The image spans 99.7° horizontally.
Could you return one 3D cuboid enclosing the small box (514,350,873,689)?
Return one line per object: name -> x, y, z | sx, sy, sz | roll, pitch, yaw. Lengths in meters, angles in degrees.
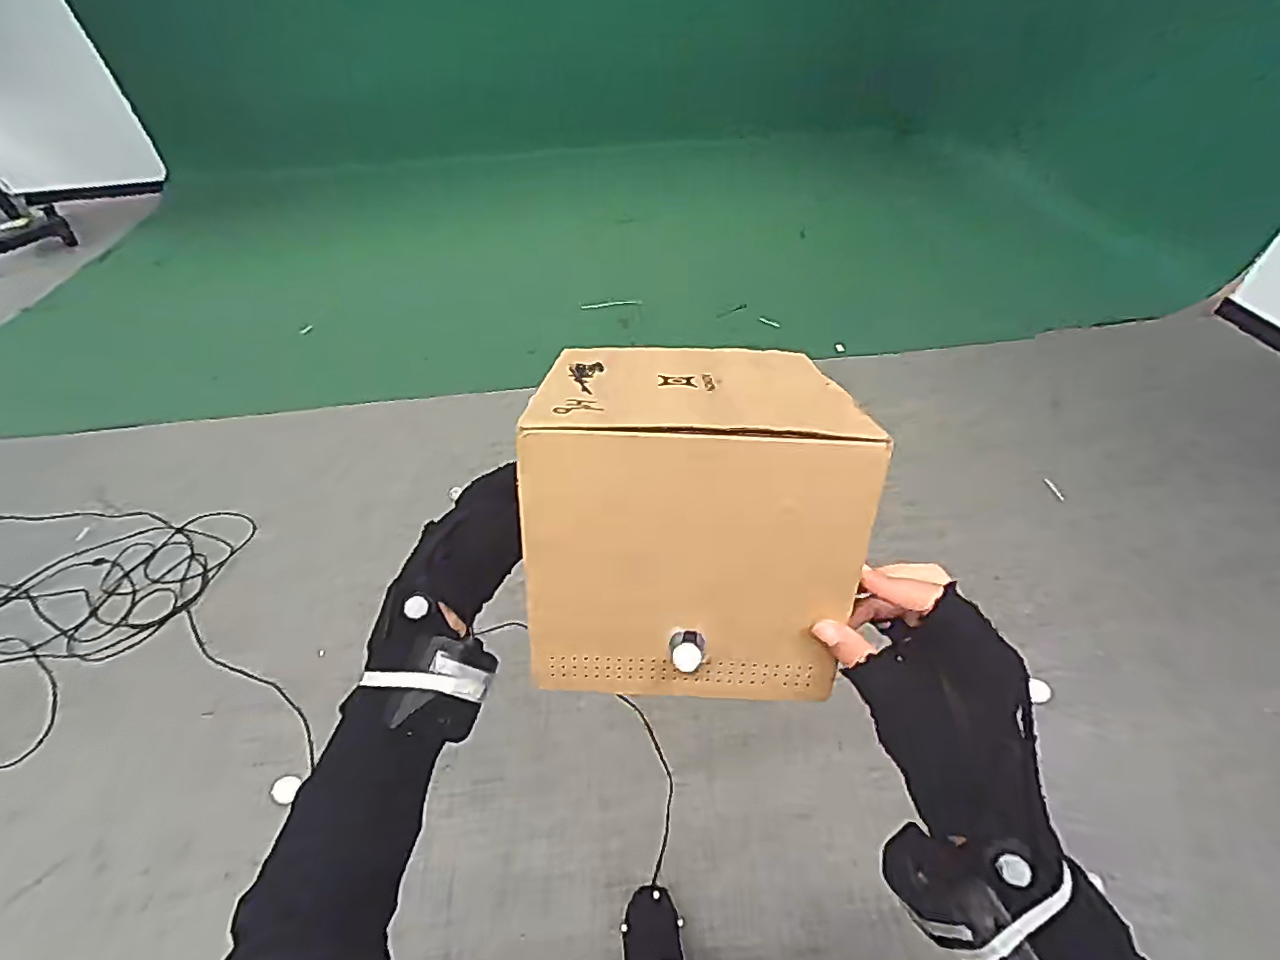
small box -> 0.025, 0.018, 0.364 | 0.179, 0.176, 0.168 | 2, 26, 1
